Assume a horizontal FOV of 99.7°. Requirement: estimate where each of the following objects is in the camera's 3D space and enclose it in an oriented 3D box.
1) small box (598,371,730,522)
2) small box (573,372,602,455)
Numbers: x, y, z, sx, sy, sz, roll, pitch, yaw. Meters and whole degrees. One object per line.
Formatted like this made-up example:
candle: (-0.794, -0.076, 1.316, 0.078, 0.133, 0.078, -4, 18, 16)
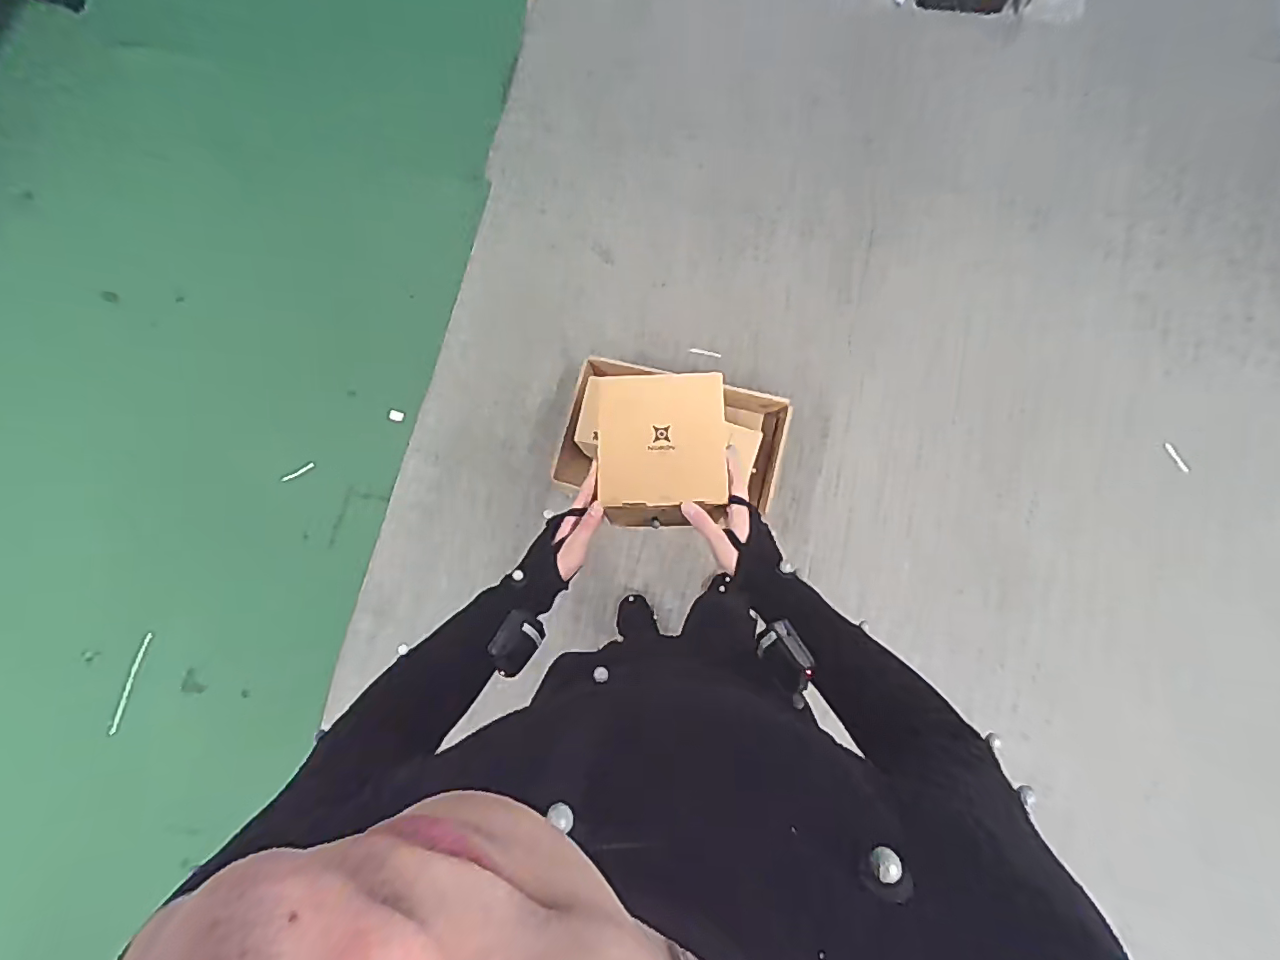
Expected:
small box: (0.031, -0.039, 0.762, 0.168, 0.176, 0.179, -1, 78, 2)
small box: (-0.065, -0.159, 1.421, 0.168, 0.176, 0.179, 12, 81, 5)
